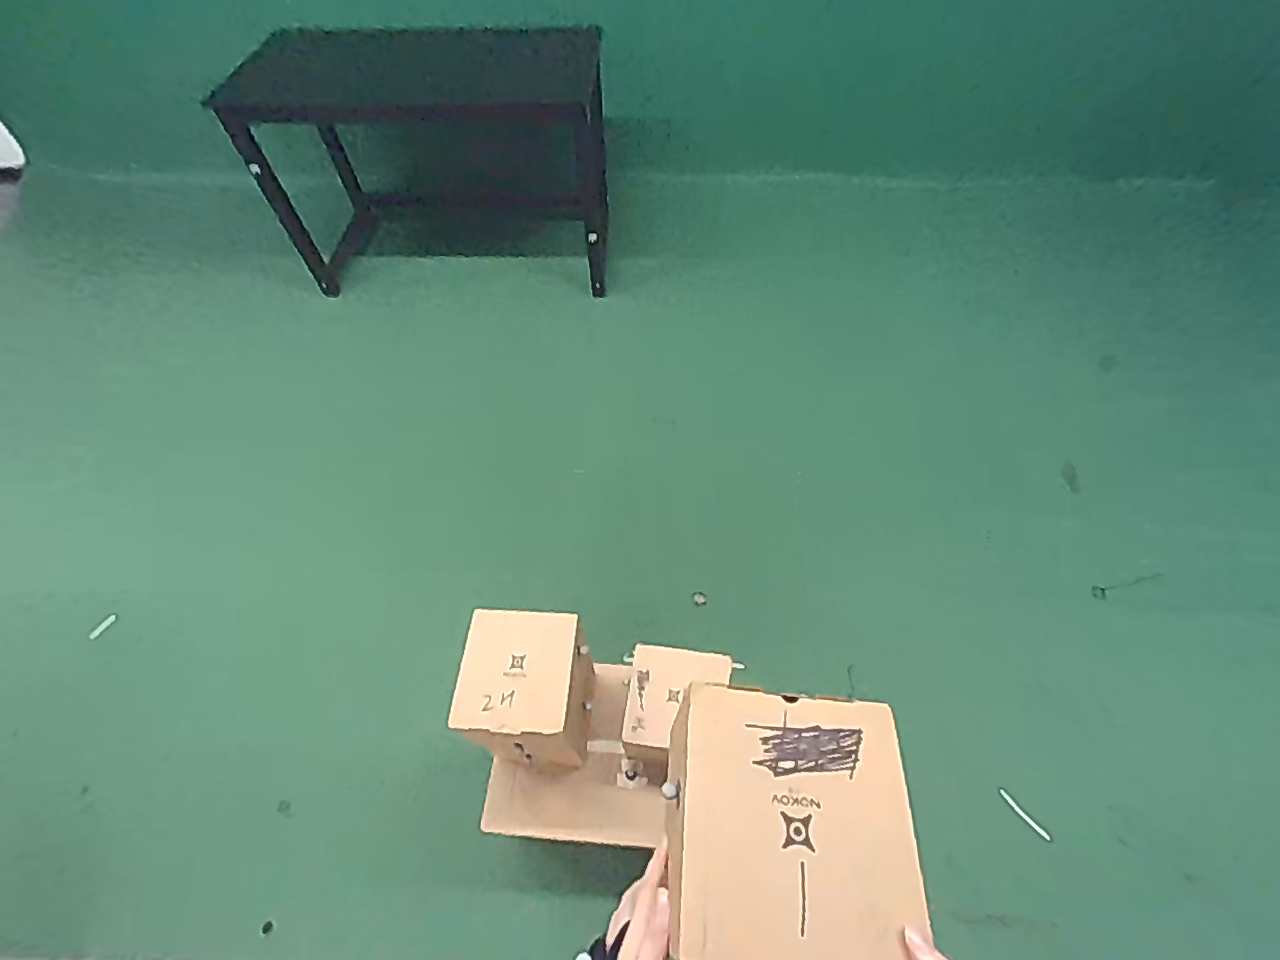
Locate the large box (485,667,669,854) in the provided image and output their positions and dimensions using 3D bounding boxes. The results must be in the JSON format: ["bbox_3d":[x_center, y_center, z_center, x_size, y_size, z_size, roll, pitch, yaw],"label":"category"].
[{"bbox_3d":[-0.069,0.600,1.152,0.408,0.320,0.320,3,56,3],"label":"large box"}]

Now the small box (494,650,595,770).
[{"bbox_3d":[-0.177,0.416,0.988,0.168,0.176,0.179,3,55,3],"label":"small box"}]

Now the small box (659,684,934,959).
[{"bbox_3d":[0.107,0.291,0.443,0.168,0.176,0.179,6,52,2],"label":"small box"}]

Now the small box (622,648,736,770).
[{"bbox_3d":[0.071,0.421,0.973,0.179,0.176,0.168,7,55,7],"label":"small box"}]

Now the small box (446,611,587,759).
[{"bbox_3d":[-0.179,0.324,0.851,0.168,0.176,0.179,3,55,3],"label":"small box"}]
